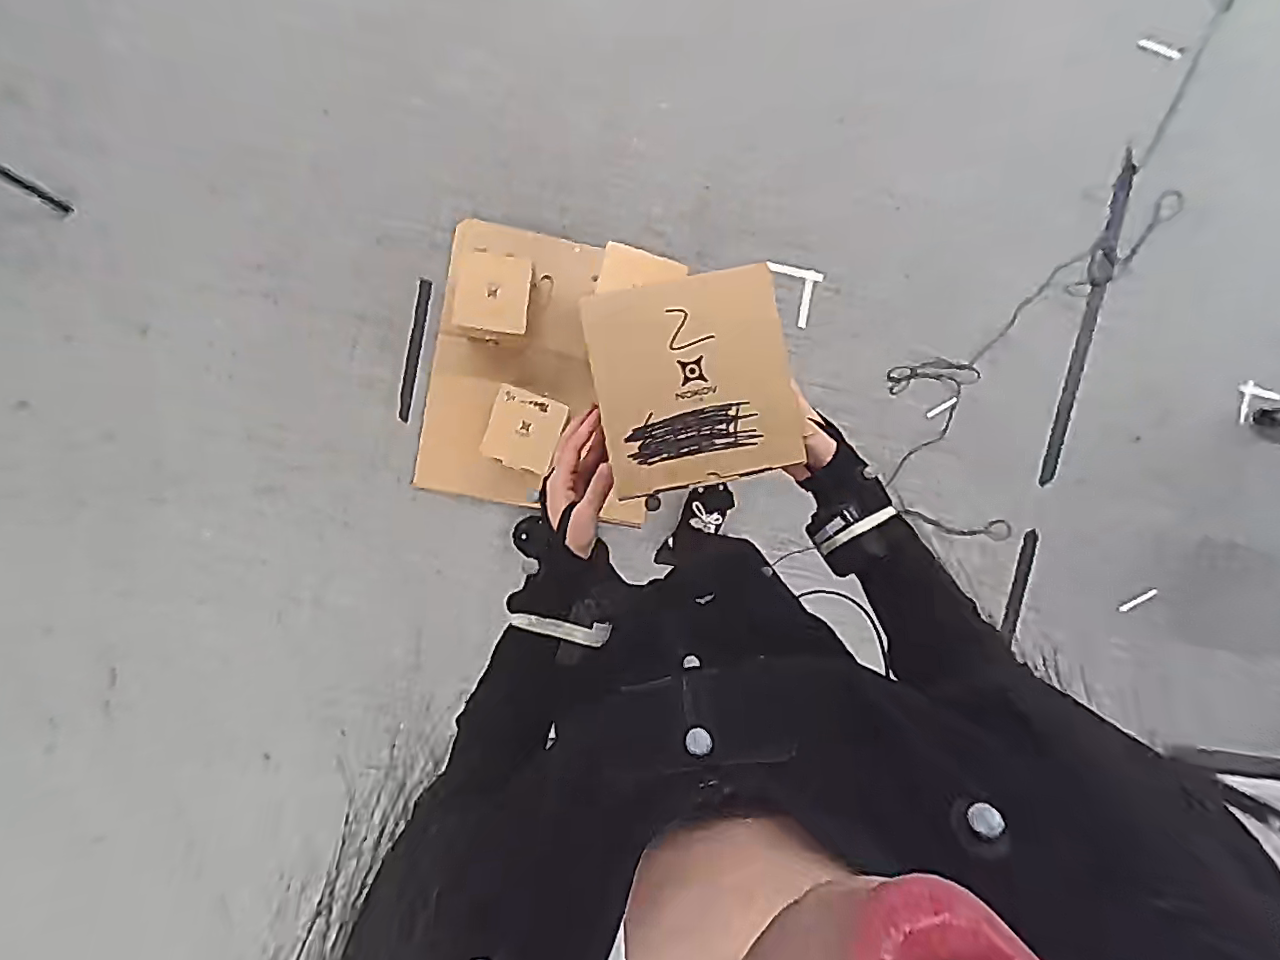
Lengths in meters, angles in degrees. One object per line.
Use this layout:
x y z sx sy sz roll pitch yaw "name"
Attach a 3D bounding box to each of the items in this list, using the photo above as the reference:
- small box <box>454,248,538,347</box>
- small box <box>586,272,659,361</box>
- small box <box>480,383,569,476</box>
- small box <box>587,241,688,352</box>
-0.340 -0.432 1.303 0.168 0.176 0.179 6 93 -6 "small box"
-0.036 -0.400 1.342 0.179 0.176 0.168 11 93 -9 "small box"
-0.275 -0.124 1.330 0.168 0.176 0.179 19 93 -8 "small box"
-0.014 -0.390 1.181 0.179 0.176 0.168 14 92 -9 "small box"
